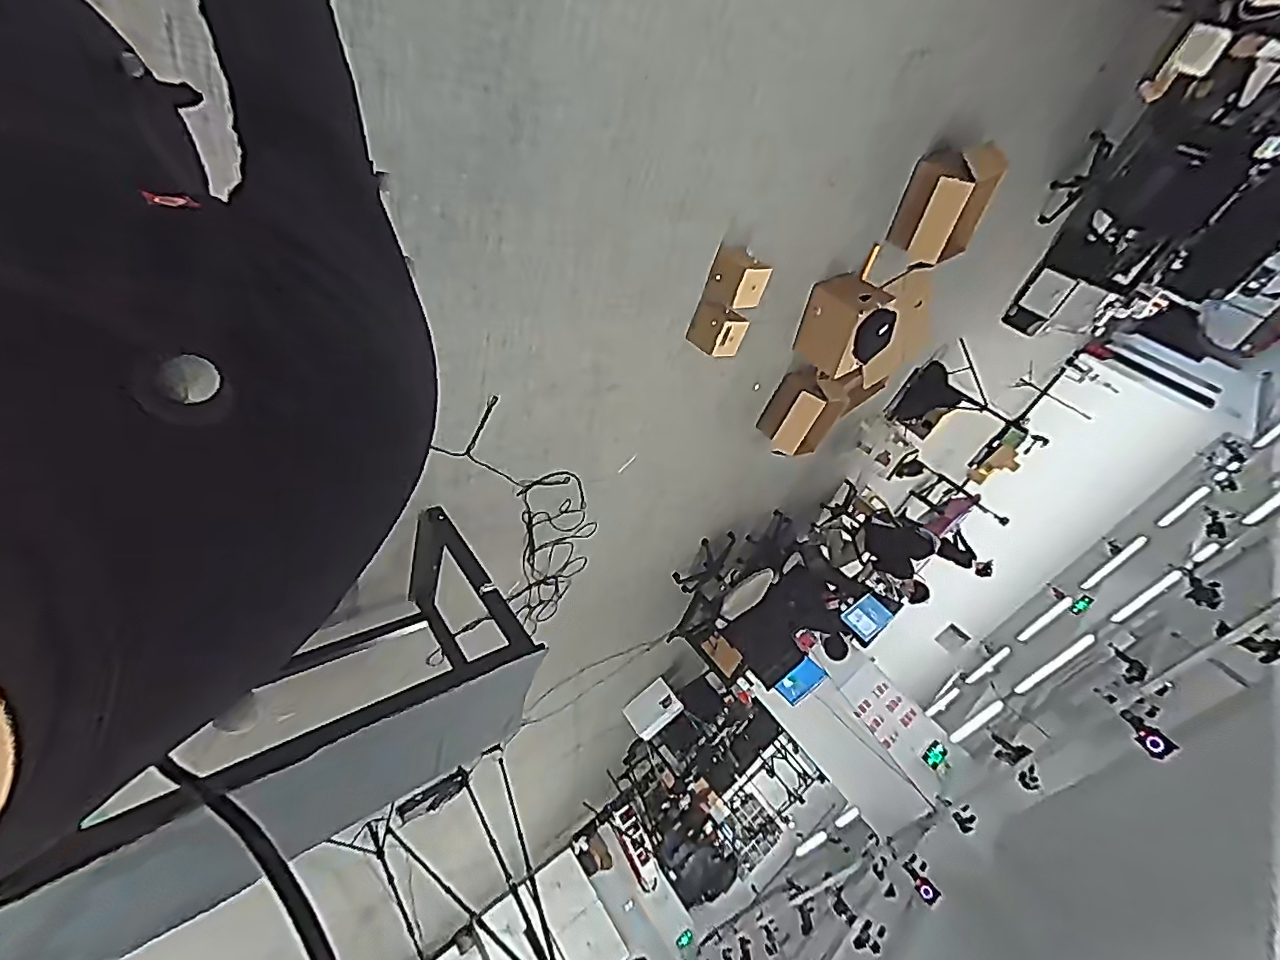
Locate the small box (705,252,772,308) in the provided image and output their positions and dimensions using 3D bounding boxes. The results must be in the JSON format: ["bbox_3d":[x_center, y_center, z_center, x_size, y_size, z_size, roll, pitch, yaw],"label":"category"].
[{"bbox_3d":[0.403,-0.829,2.230,0.179,0.176,0.168,-18,140,-38],"label":"small box"}]
